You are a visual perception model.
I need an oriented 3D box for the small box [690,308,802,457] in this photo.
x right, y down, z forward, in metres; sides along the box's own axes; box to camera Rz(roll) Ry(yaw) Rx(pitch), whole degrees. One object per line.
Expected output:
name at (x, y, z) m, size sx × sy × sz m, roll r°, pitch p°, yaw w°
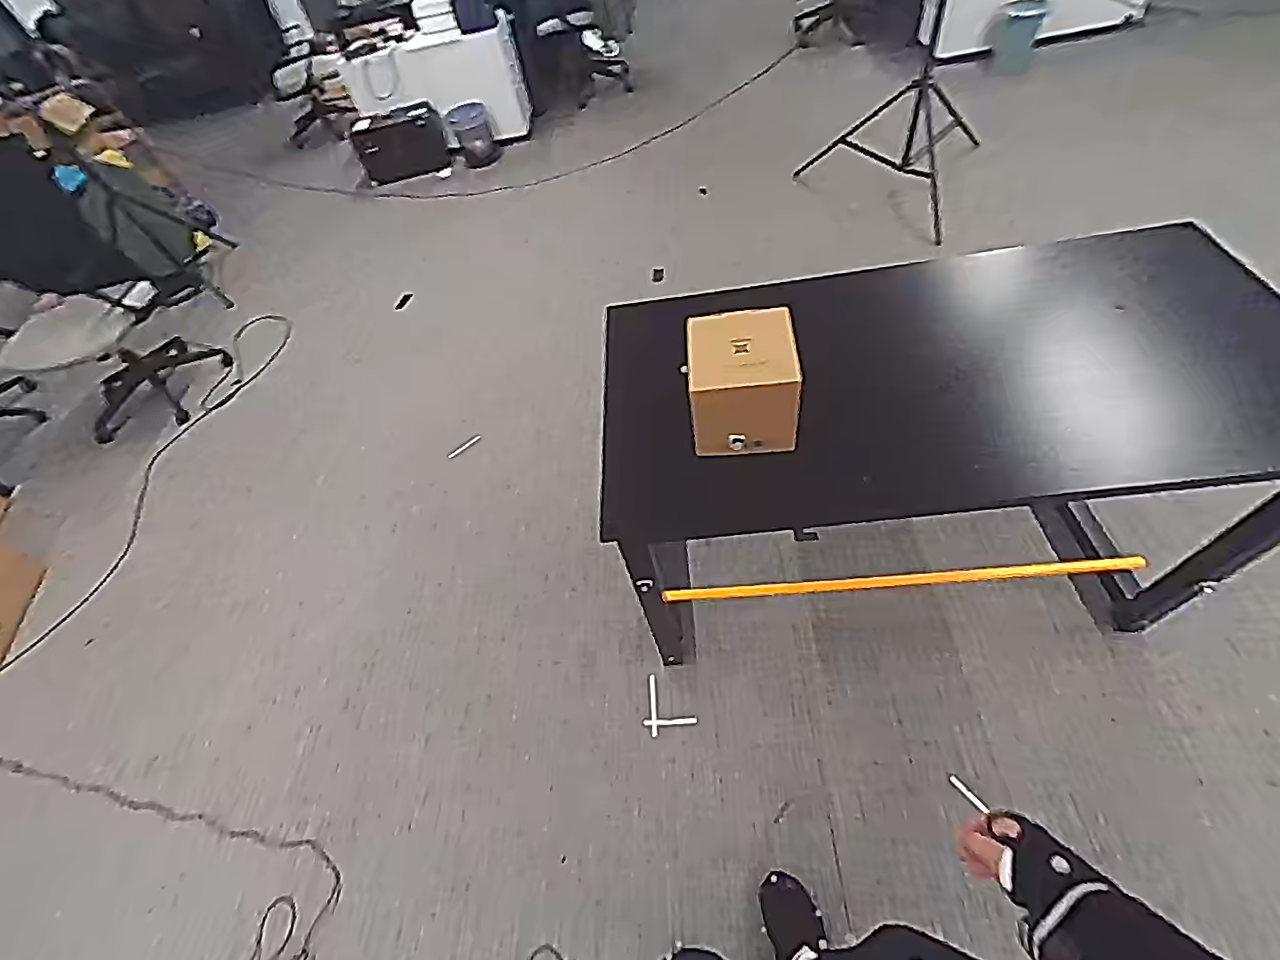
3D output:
small box at (0.172, -0.160, 0.909) m, size 0.168 × 0.176 × 0.179 m, roll -5°, pitch 55°, yaw 9°
